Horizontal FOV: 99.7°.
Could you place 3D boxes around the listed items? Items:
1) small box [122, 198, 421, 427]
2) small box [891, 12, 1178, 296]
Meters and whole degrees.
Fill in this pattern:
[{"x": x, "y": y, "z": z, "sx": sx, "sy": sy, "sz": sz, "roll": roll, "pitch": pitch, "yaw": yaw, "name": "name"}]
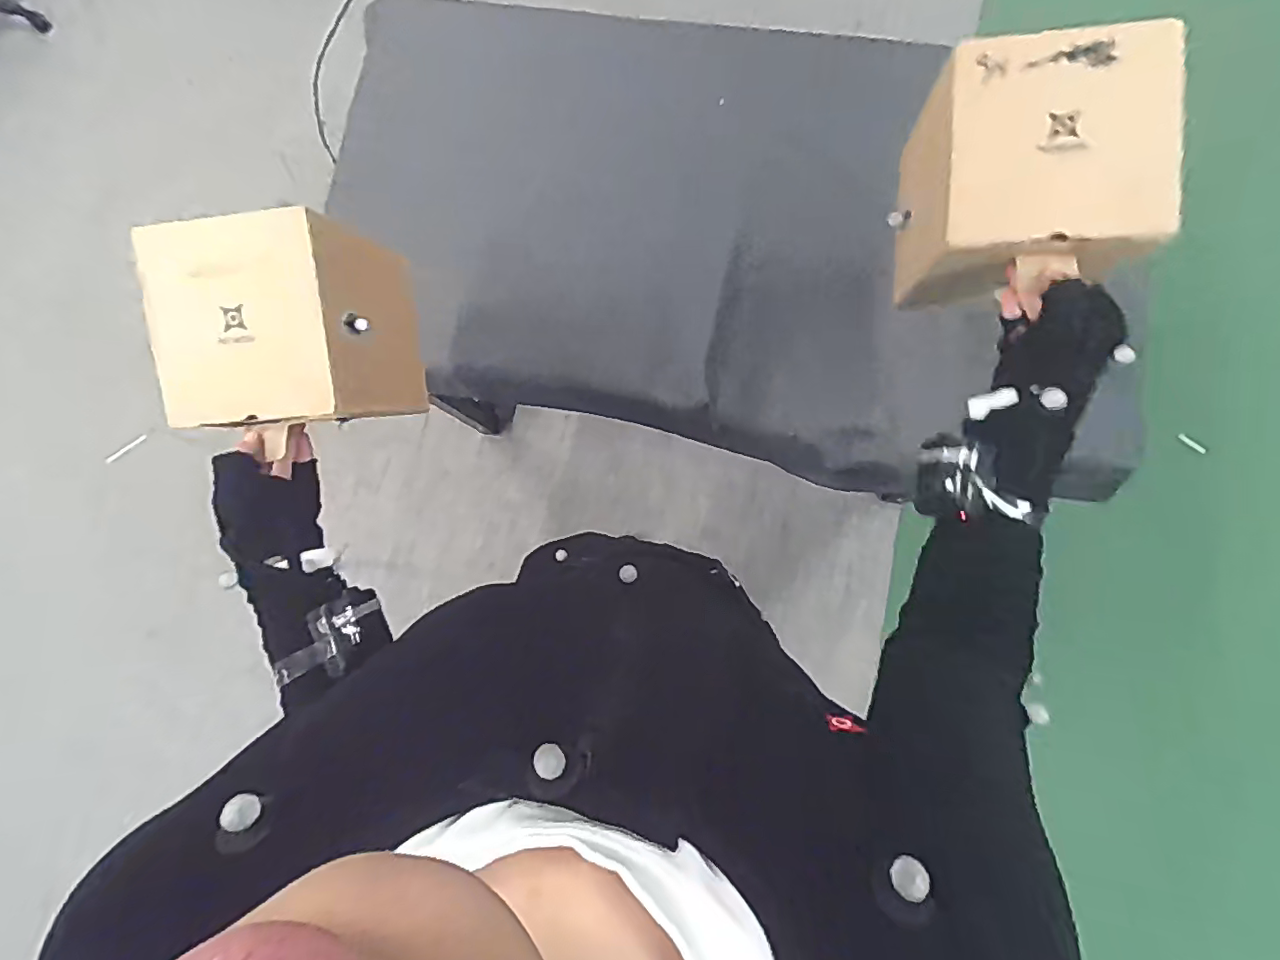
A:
[{"x": -0.340, "y": -0.152, "z": 0.538, "sx": 0.168, "sy": 0.176, "sz": 0.179, "roll": -5, "pitch": 98, "yaw": 6, "name": "small box"}, {"x": 0.351, "y": -0.285, "z": 0.518, "sx": 0.168, "sy": 0.176, "sz": 0.179, "roll": 3, "pitch": 91, "yaw": 10, "name": "small box"}]
